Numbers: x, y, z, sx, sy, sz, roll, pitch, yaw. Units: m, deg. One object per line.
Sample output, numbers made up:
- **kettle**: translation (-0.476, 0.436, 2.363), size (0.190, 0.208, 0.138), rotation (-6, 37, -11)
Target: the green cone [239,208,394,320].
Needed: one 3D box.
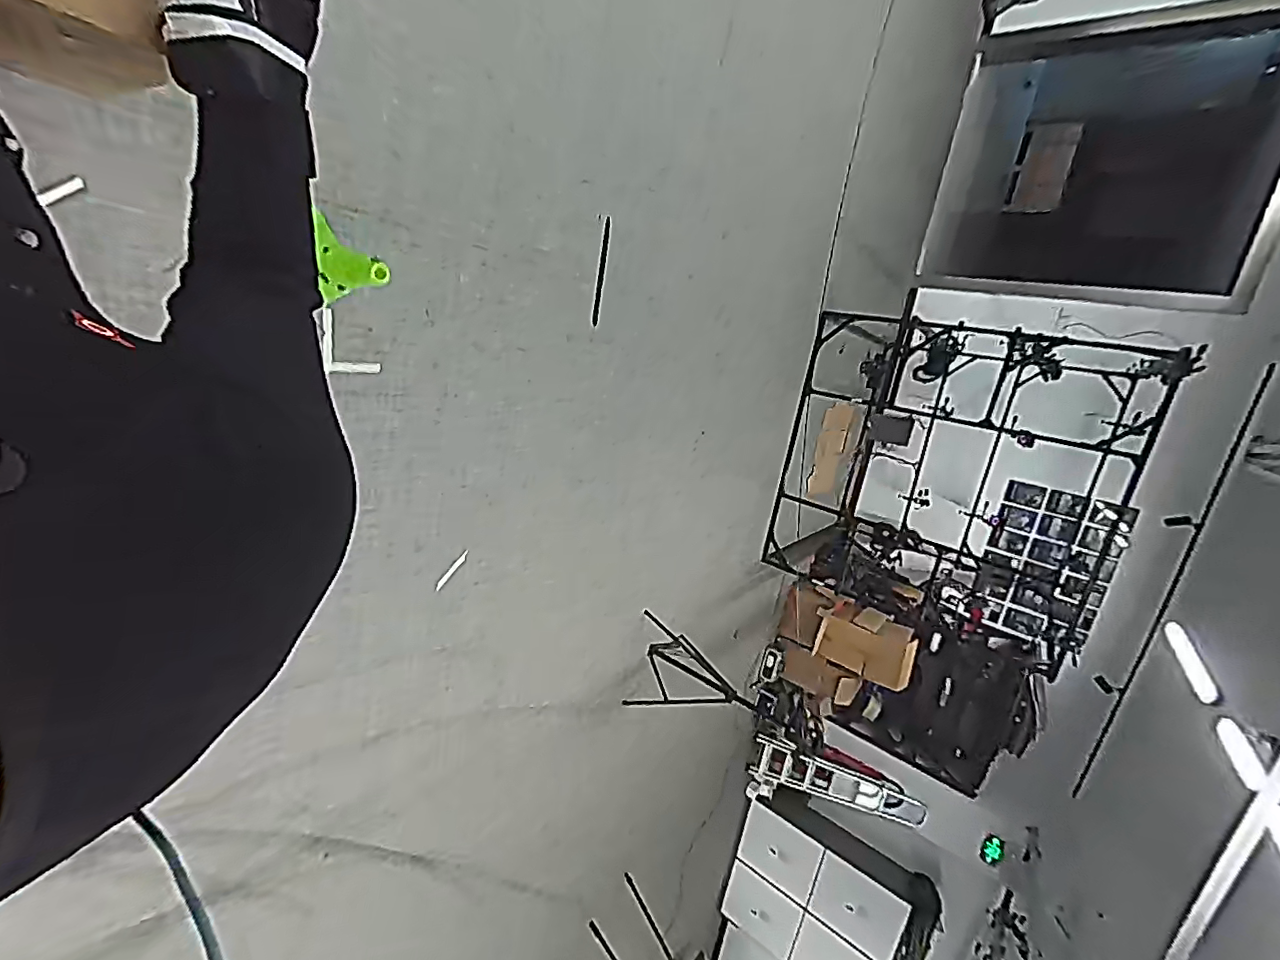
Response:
- **green cone**: translation (-0.661, -0.462, 1.187), size (0.202, 0.368, 0.200), rotation (-50, 143, -30)

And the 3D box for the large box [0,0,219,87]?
- **large box**: translation (-0.508, -0.462, 0.263), size (0.408, 0.320, 0.320), rotation (-11, 118, -53)
